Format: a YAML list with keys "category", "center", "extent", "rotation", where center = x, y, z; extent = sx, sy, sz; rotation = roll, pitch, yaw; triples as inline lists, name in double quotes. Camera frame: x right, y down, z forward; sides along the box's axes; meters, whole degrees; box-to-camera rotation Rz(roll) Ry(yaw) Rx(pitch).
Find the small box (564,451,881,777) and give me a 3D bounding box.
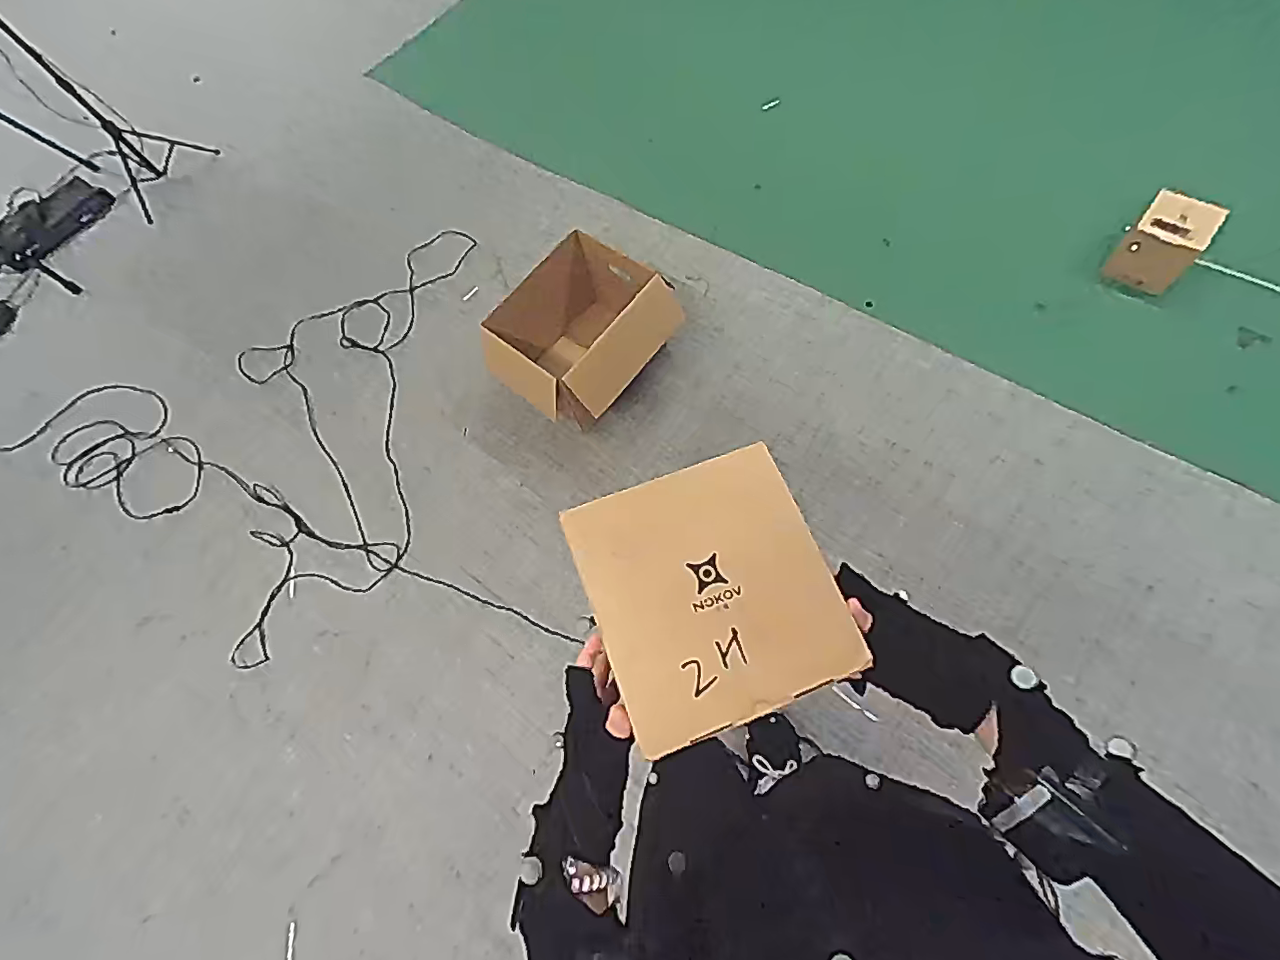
- category: "small box"
  center: [0.047, 0.106, 0.435]
  extent: [0.168, 0.176, 0.179]
  rotation: [-20, 72, -8]
